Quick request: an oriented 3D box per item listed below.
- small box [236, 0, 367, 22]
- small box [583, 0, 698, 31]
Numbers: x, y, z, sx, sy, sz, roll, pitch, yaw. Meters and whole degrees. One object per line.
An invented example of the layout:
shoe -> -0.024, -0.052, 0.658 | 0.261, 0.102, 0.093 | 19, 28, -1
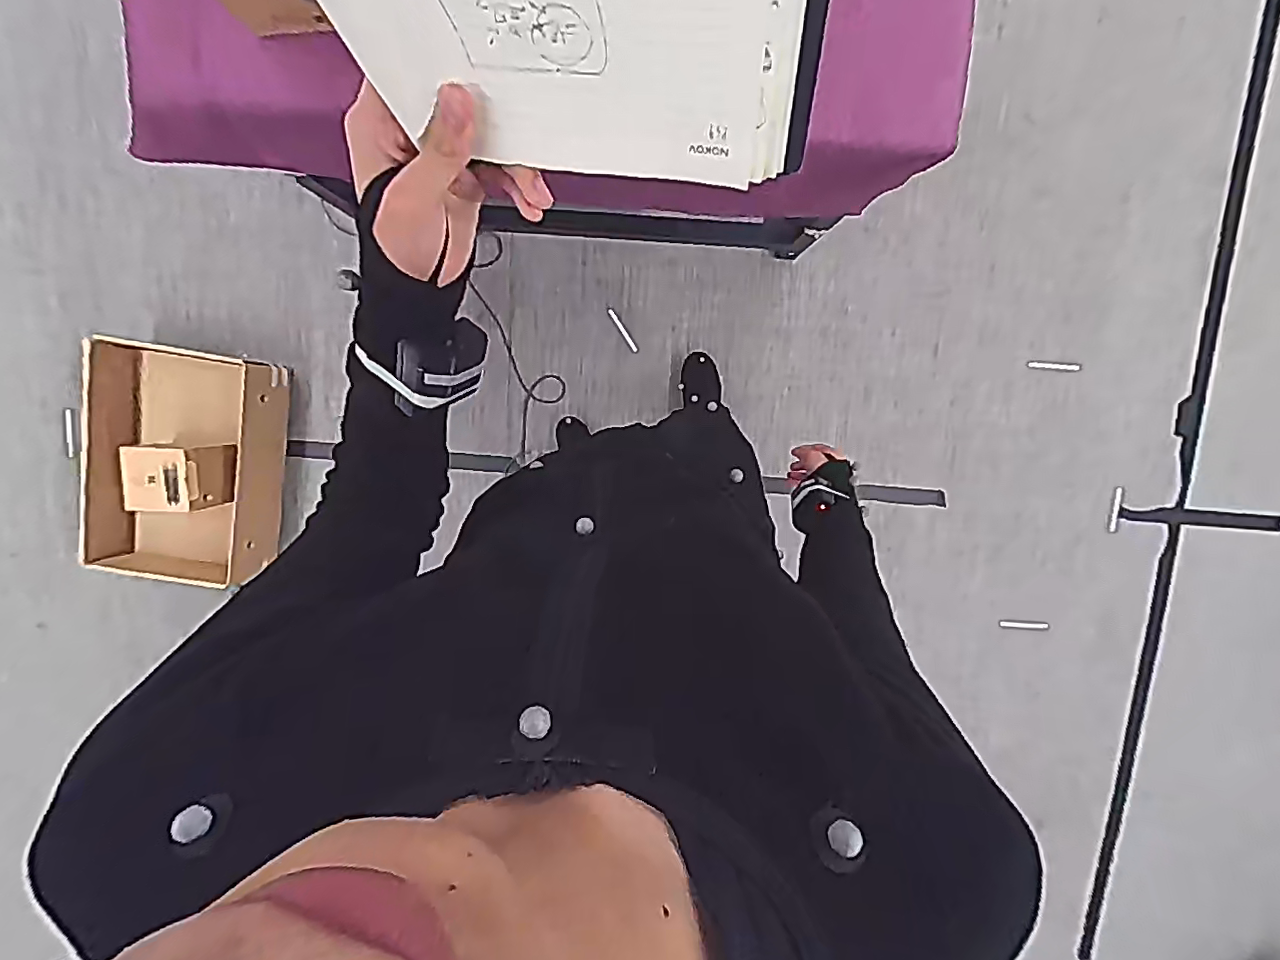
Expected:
small box -> -0.468, -0.720, 0.679 | 0.168, 0.176, 0.179 | -4, 98, -1
small box -> 0.006, -0.722, 0.685 | 0.168, 0.176, 0.179 | 7, 98, -2
